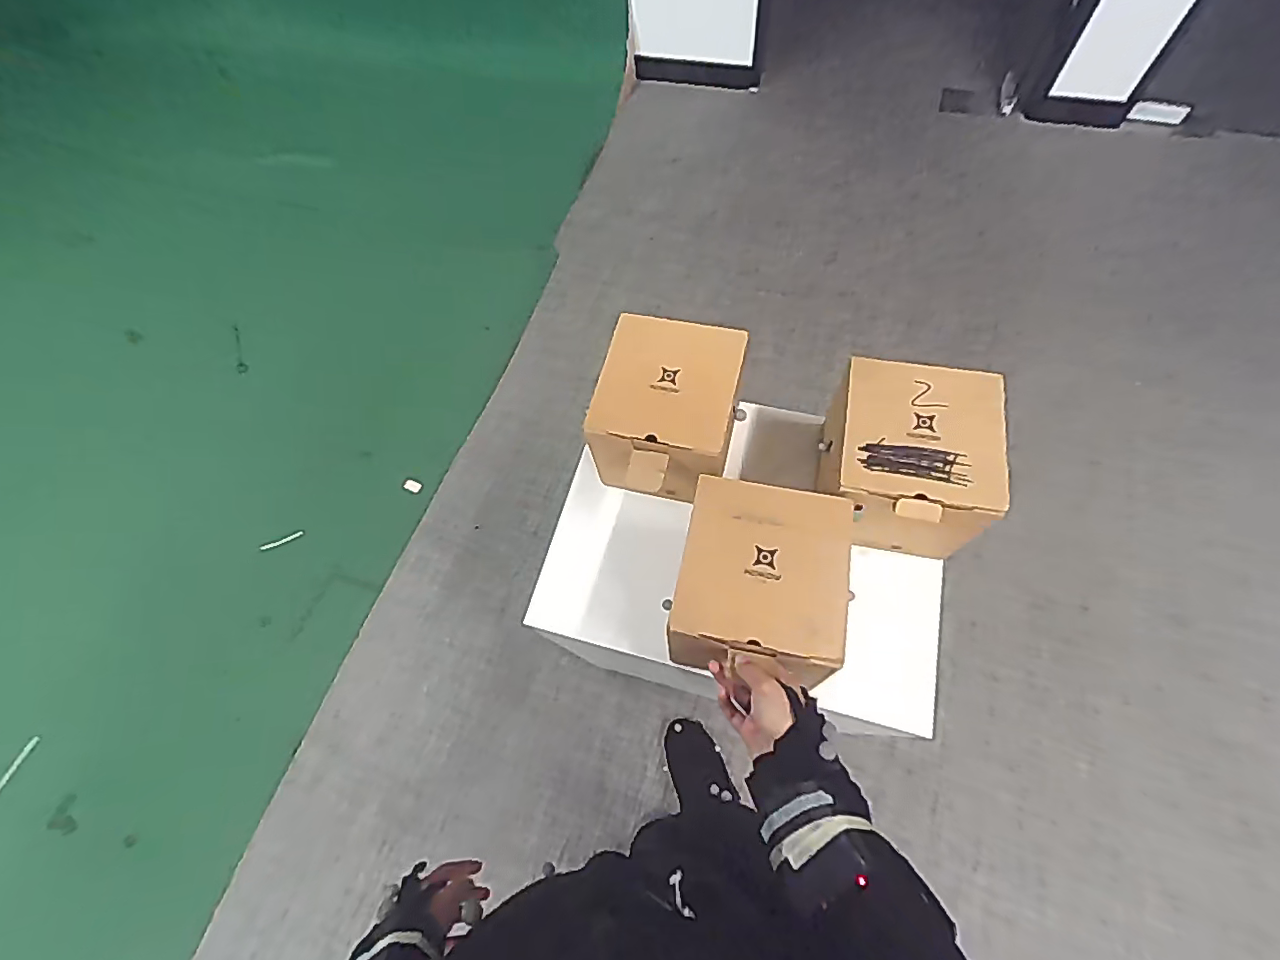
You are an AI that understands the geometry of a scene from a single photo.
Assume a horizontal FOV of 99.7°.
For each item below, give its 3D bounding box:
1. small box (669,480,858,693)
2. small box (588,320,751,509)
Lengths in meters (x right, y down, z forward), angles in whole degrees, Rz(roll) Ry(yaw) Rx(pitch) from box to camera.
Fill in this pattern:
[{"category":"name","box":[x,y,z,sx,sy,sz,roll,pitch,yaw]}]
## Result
[{"category":"small box","box":[0.134,0.126,0.608,0.168,0.176,0.179,10,62,10]},{"category":"small box","box":[0.043,-0.081,0.722,0.168,0.176,0.179,11,69,10]}]
